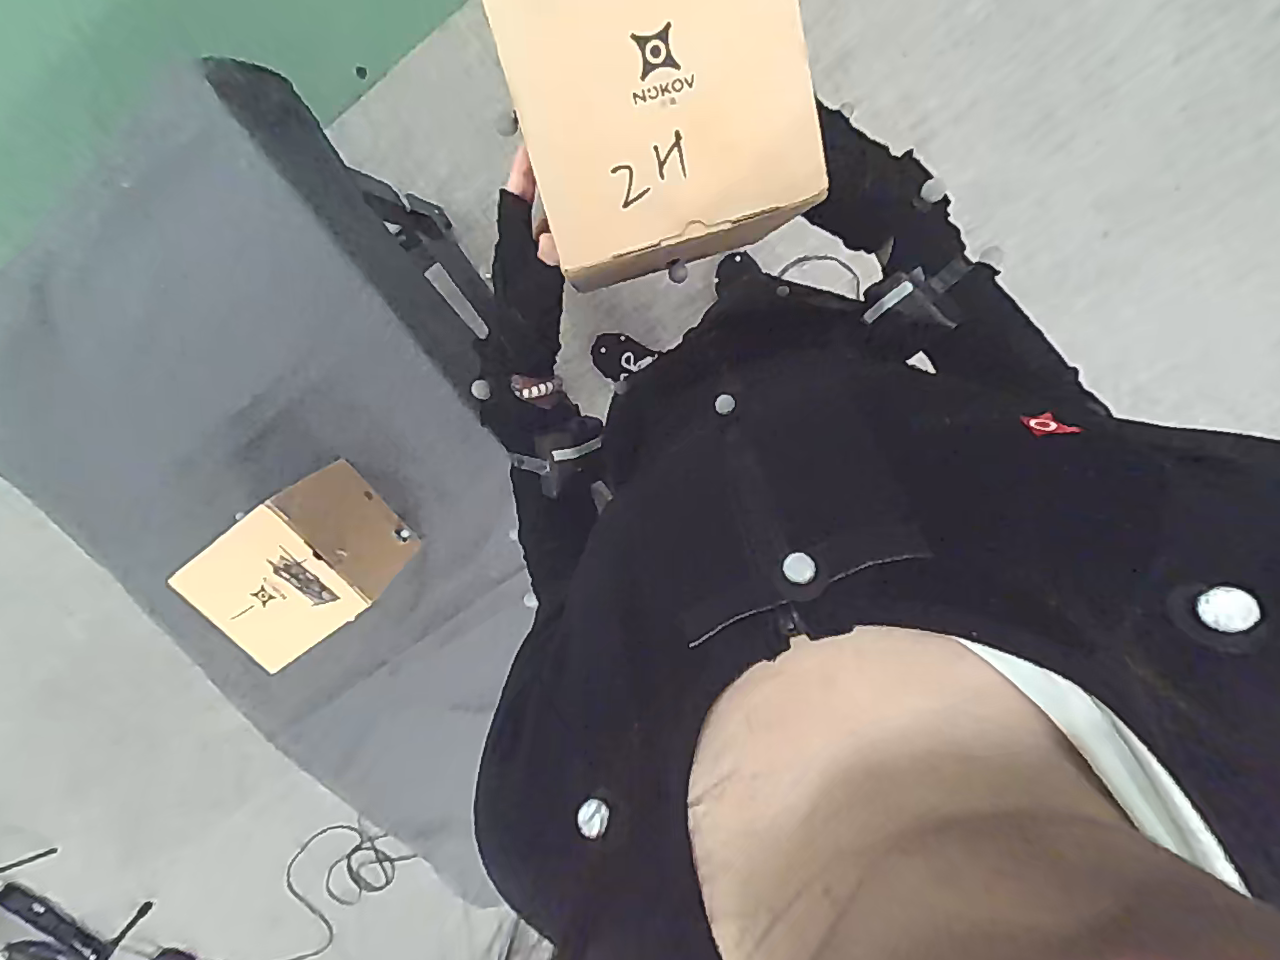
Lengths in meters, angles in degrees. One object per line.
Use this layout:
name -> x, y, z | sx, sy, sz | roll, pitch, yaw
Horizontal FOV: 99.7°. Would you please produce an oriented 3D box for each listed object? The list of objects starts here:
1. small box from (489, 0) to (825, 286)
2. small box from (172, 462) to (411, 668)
small box -> 0.005, -0.249, 0.373 | 0.168, 0.176, 0.179 | -15, 105, 2
small box -> -0.434, 0.101, 0.713 | 0.179, 0.176, 0.168 | -34, 105, 13
